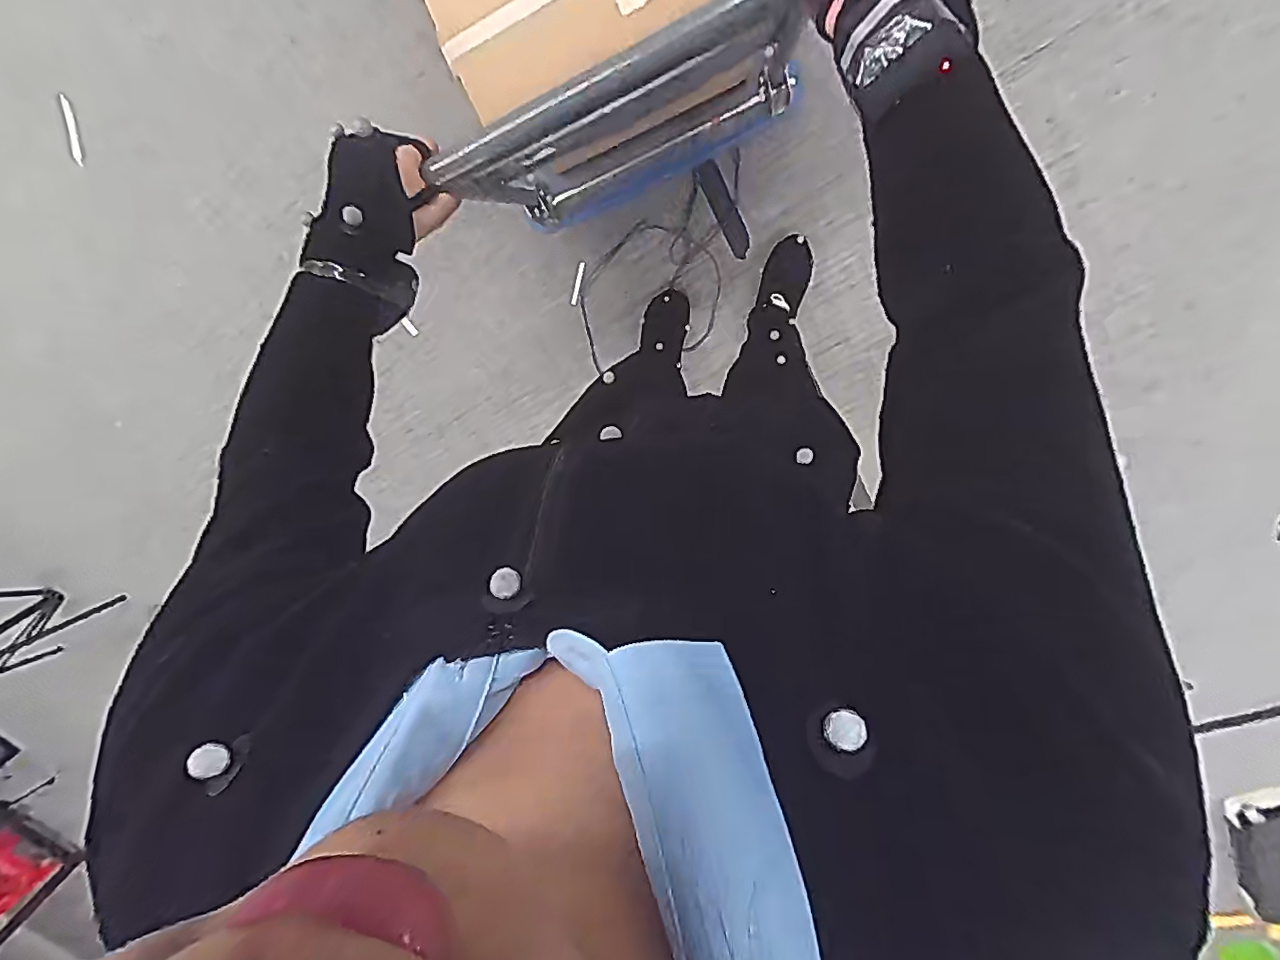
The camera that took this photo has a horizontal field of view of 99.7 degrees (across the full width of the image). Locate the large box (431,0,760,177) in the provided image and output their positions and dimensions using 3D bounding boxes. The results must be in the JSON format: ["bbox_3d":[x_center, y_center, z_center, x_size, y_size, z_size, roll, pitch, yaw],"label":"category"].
[{"bbox_3d":[-0.063,-0.726,0.844,0.408,0.320,0.320,-18,114,15],"label":"large box"}]
